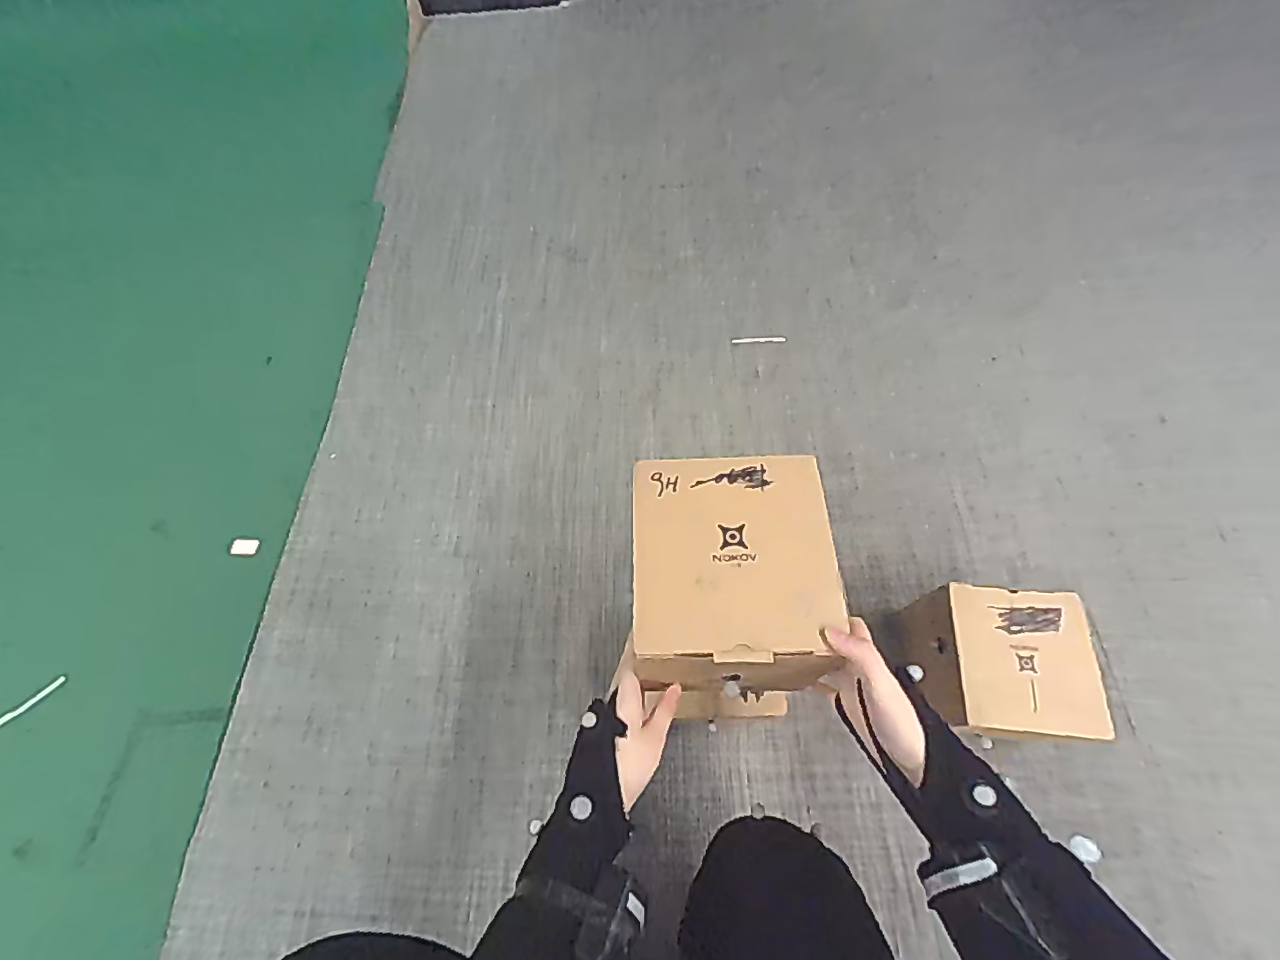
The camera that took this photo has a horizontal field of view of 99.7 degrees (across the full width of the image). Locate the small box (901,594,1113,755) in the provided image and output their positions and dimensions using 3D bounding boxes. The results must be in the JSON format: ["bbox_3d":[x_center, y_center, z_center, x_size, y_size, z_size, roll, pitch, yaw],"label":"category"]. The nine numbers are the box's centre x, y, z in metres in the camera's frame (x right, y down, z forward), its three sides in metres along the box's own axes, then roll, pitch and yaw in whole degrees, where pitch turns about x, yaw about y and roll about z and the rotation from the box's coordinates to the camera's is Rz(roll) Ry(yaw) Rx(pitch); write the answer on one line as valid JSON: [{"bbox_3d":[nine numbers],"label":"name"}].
[{"bbox_3d":[0.475,0.269,0.737,0.168,0.176,0.179,4,63,5],"label":"small box"}]

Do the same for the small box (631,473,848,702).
[{"bbox_3d":[0.079,0.110,0.514,0.168,0.176,0.179,-1,60,2],"label":"small box"}]
